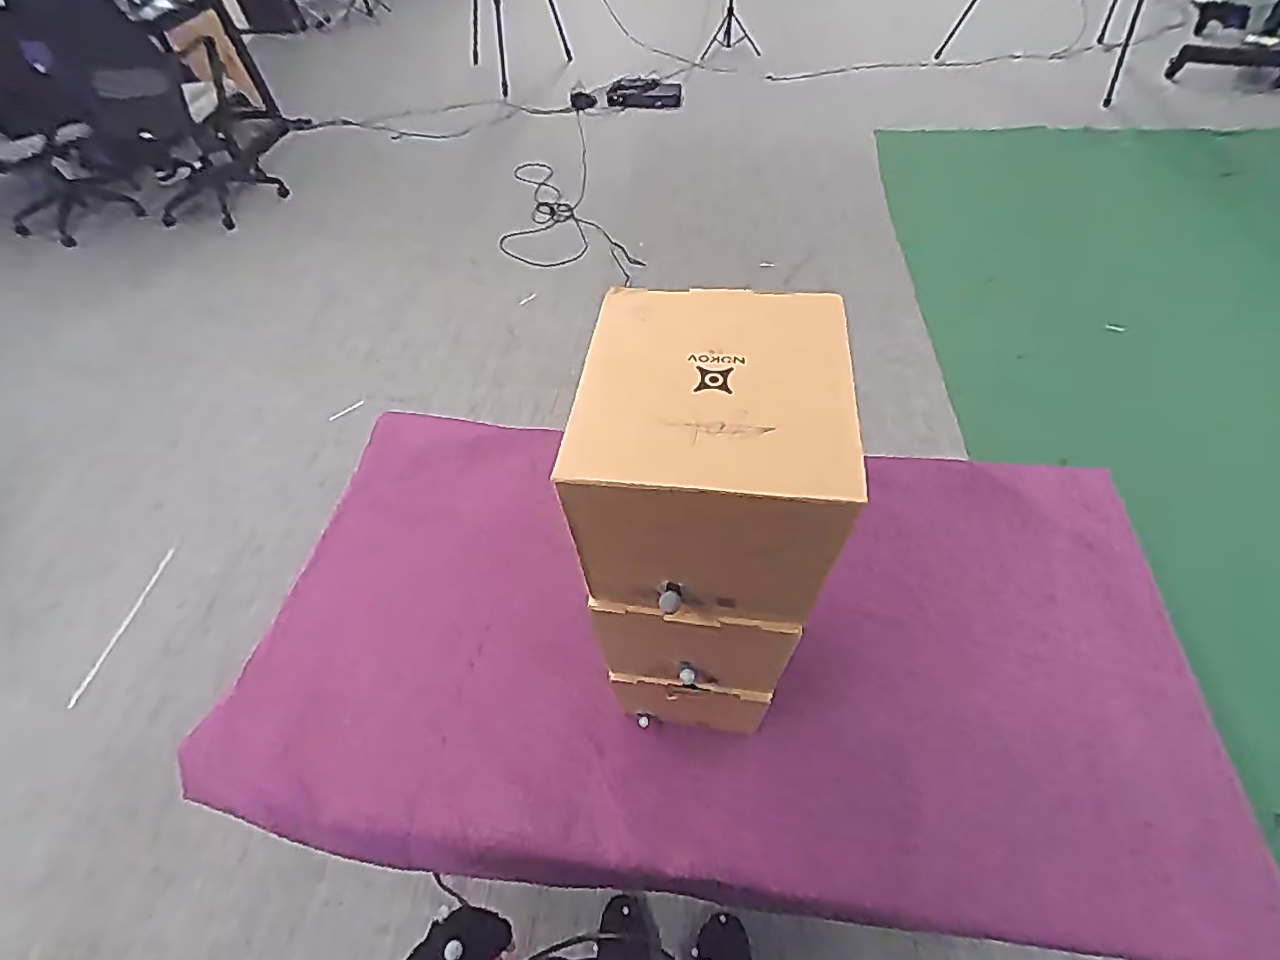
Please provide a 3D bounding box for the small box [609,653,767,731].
[{"bbox_3d":[0.066,0.191,0.660,0.168,0.176,0.179,5,54,8],"label":"small box"}]

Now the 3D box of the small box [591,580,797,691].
[{"bbox_3d":[0.057,0.087,0.533,0.168,0.176,0.179,5,54,8],"label":"small box"}]

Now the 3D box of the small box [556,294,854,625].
[{"bbox_3d":[0.049,-0.014,0.404,0.168,0.176,0.179,5,54,8],"label":"small box"}]
